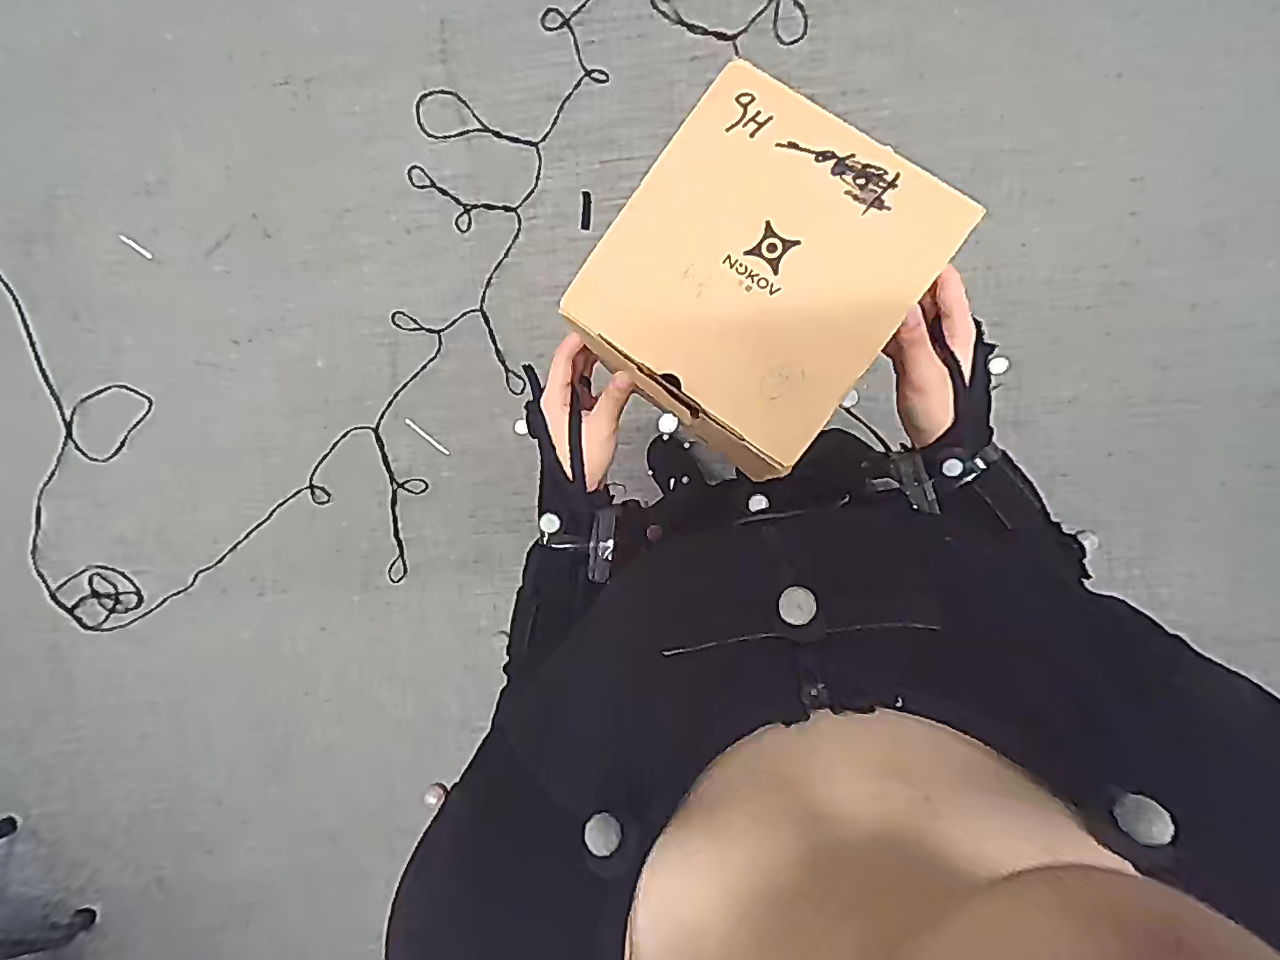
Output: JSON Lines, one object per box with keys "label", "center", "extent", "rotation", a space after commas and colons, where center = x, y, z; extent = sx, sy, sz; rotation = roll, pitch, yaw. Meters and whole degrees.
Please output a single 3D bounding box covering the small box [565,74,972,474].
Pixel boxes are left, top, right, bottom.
{"label": "small box", "center": [0.079, -0.117, 0.387], "extent": [0.168, 0.176, 0.179], "rotation": [38, 93, 7]}
